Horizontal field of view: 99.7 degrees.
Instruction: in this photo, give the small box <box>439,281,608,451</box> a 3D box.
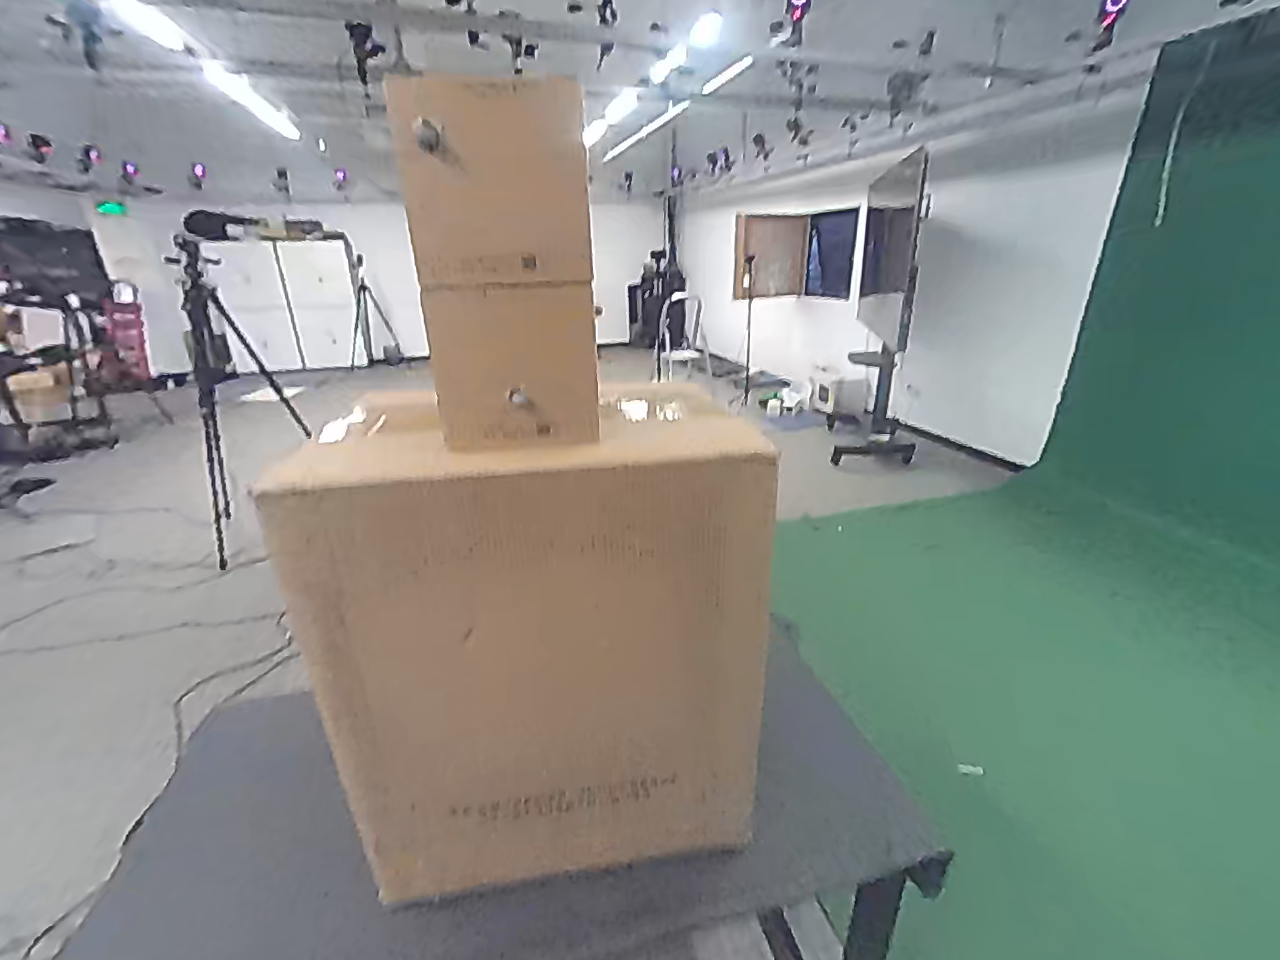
[{"bbox_3d":[-0.127,-0.141,0.640,0.168,0.176,0.179,-4,24,-8],"label":"small box"}]
